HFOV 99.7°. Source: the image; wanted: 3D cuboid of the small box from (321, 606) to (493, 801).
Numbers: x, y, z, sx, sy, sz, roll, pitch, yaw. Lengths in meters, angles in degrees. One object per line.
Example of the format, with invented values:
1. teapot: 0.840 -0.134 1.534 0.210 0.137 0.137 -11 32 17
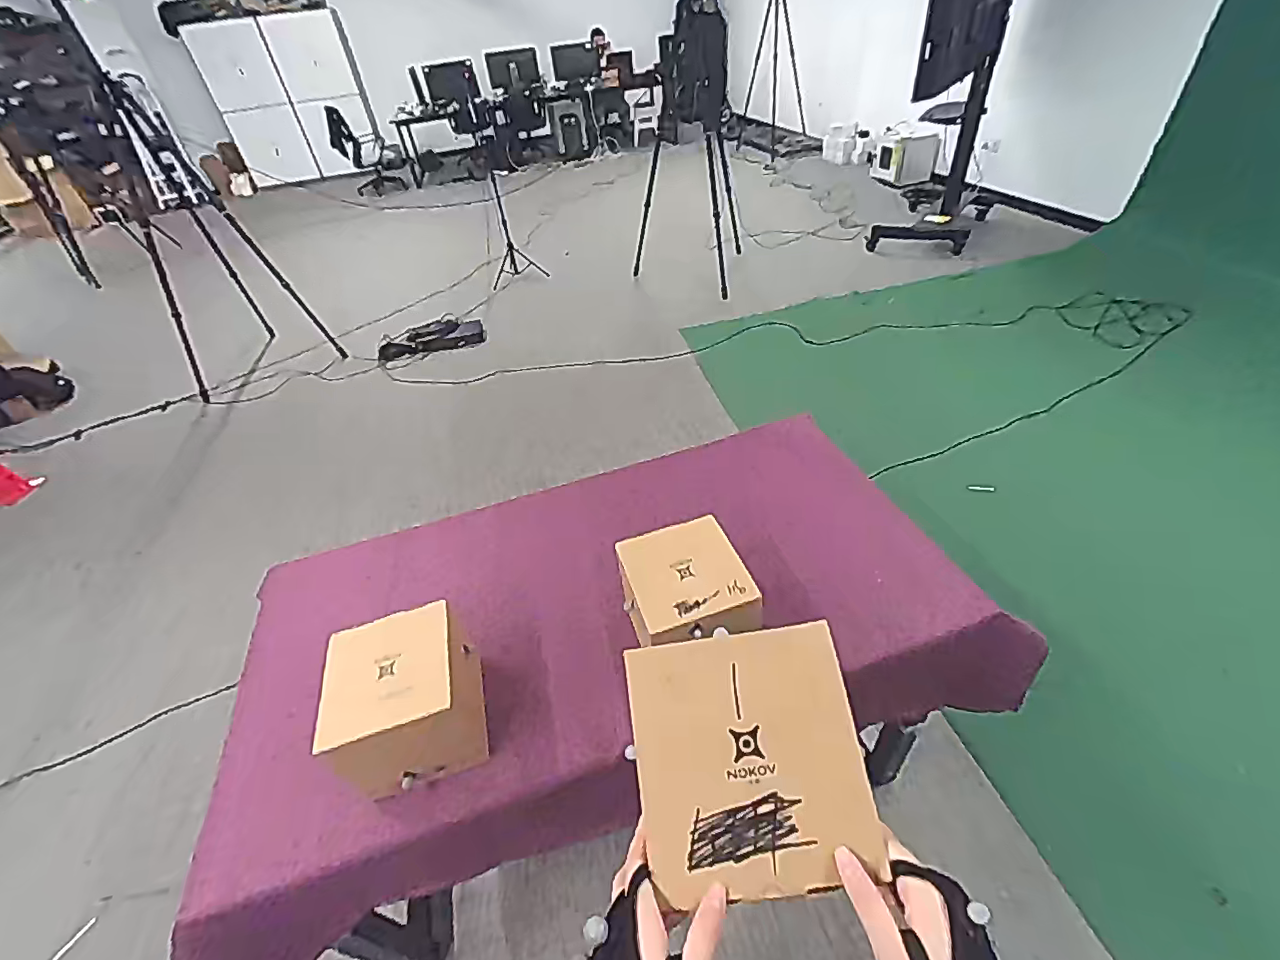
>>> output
1. small box: -0.319 0.316 0.770 0.168 0.176 0.179 -17 43 -8

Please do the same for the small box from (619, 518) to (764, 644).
1. small box: 0.077 0.194 0.837 0.168 0.176 0.179 -18 41 -8

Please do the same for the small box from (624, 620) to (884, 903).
1. small box: 0.085 0.231 0.477 0.168 0.176 0.179 -9 68 2
